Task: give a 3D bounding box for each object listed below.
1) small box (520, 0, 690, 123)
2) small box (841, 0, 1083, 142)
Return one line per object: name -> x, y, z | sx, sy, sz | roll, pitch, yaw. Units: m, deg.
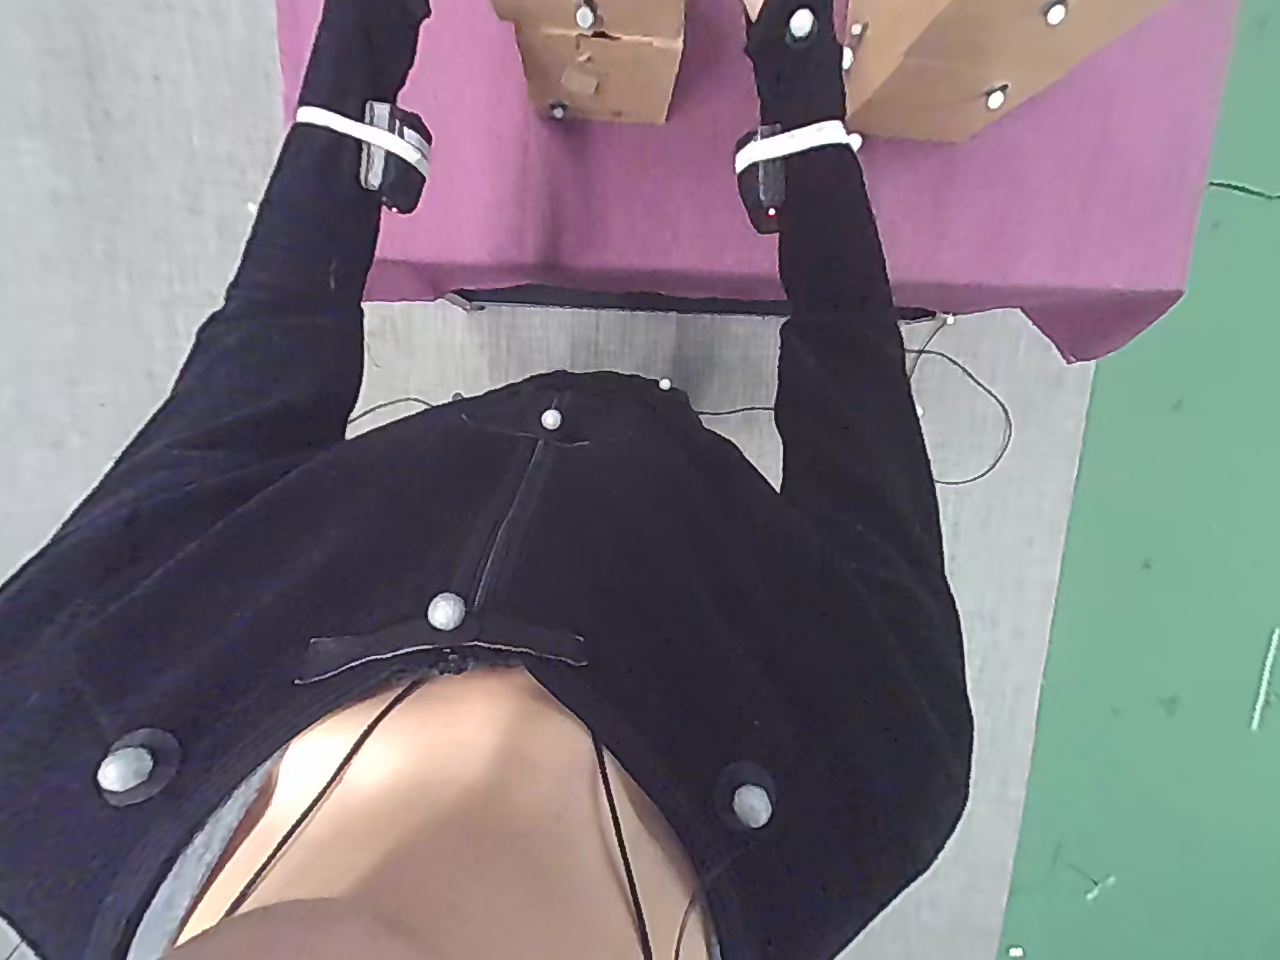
small box -> -0.035, -0.521, 0.587 | 0.168, 0.176, 0.179 | 1, 100, -5
small box -> 0.357, -0.511, 0.615 | 0.179, 0.176, 0.168 | 3, 100, -4
